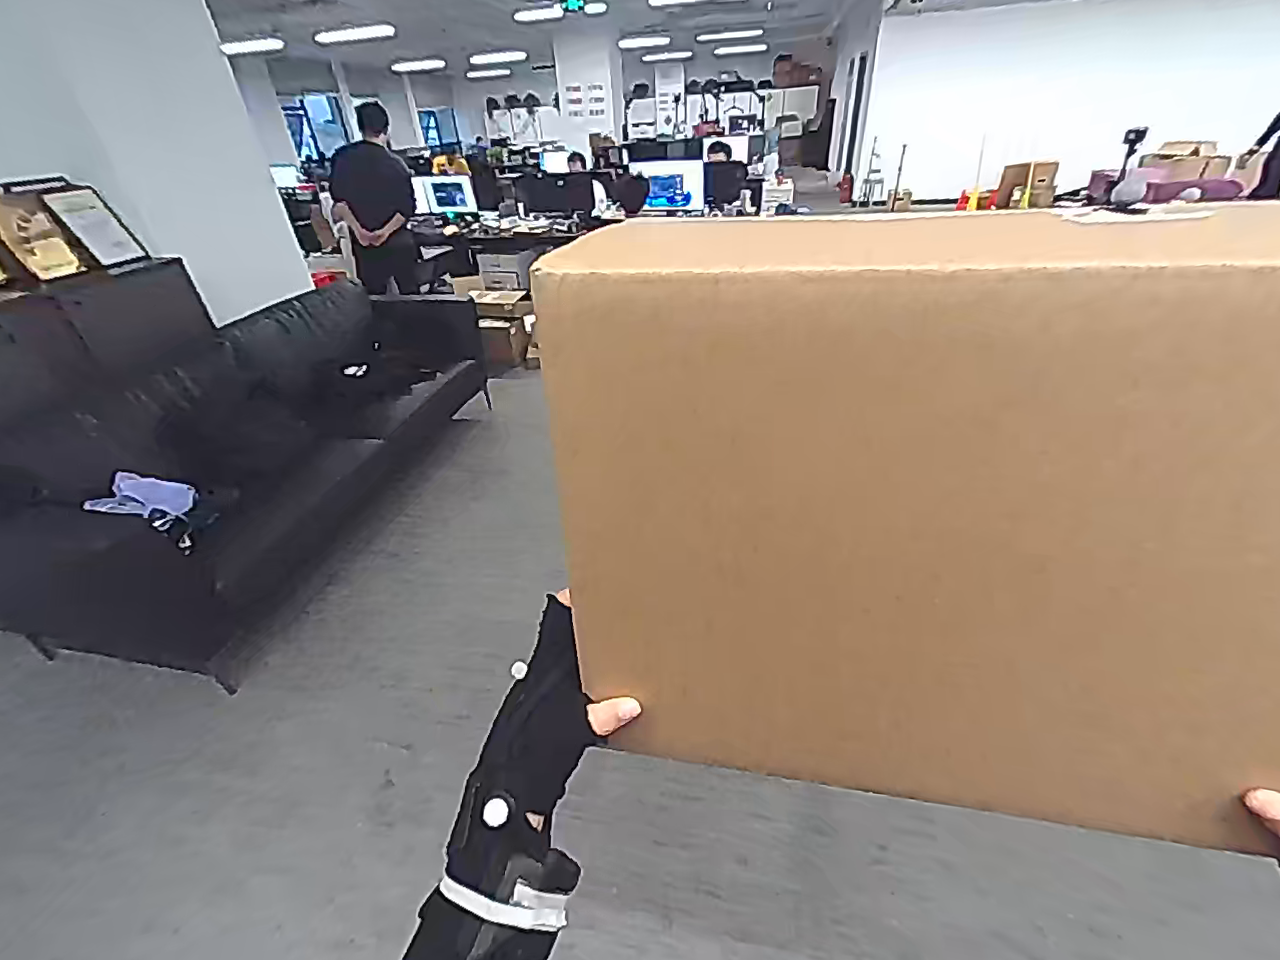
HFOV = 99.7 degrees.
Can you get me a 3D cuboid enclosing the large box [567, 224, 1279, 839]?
[{"bbox_3d":[0.188,-0.008,0.395,0.408,0.320,0.320,4,29,10],"label":"large box"}]
